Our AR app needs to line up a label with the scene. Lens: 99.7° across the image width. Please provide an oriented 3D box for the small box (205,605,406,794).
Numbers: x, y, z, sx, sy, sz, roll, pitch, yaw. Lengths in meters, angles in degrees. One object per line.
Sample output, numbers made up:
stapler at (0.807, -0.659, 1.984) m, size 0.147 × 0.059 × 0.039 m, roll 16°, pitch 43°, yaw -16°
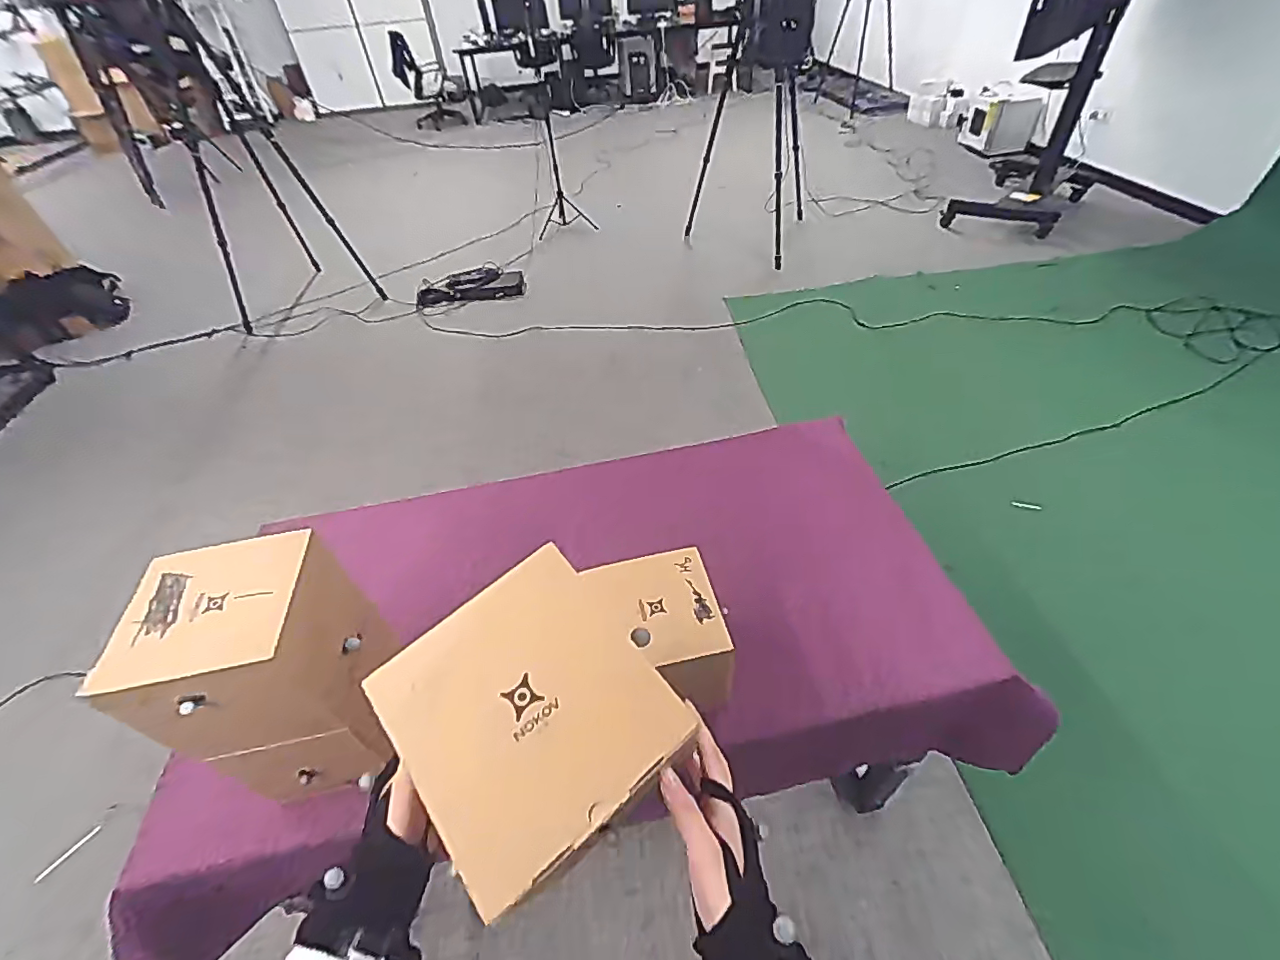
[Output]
small box at (-0.421, 0.300, 0.729) m, size 0.168 × 0.176 × 0.179 m, roll -10°, pitch 45°, yaw -5°

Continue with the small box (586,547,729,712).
small box at (0.019, 0.223, 0.758) m, size 0.179 × 0.176 × 0.168 m, roll -12°, pitch 45°, yaw -4°

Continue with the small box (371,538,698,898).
small box at (-0.073, 0.185, 0.439) m, size 0.168 × 0.176 × 0.179 m, roll -36°, pitch 64°, yaw -16°

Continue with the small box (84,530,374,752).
small box at (-0.435, 0.184, 0.613) m, size 0.179 × 0.176 × 0.168 m, roll -10°, pitch 45°, yaw -5°
